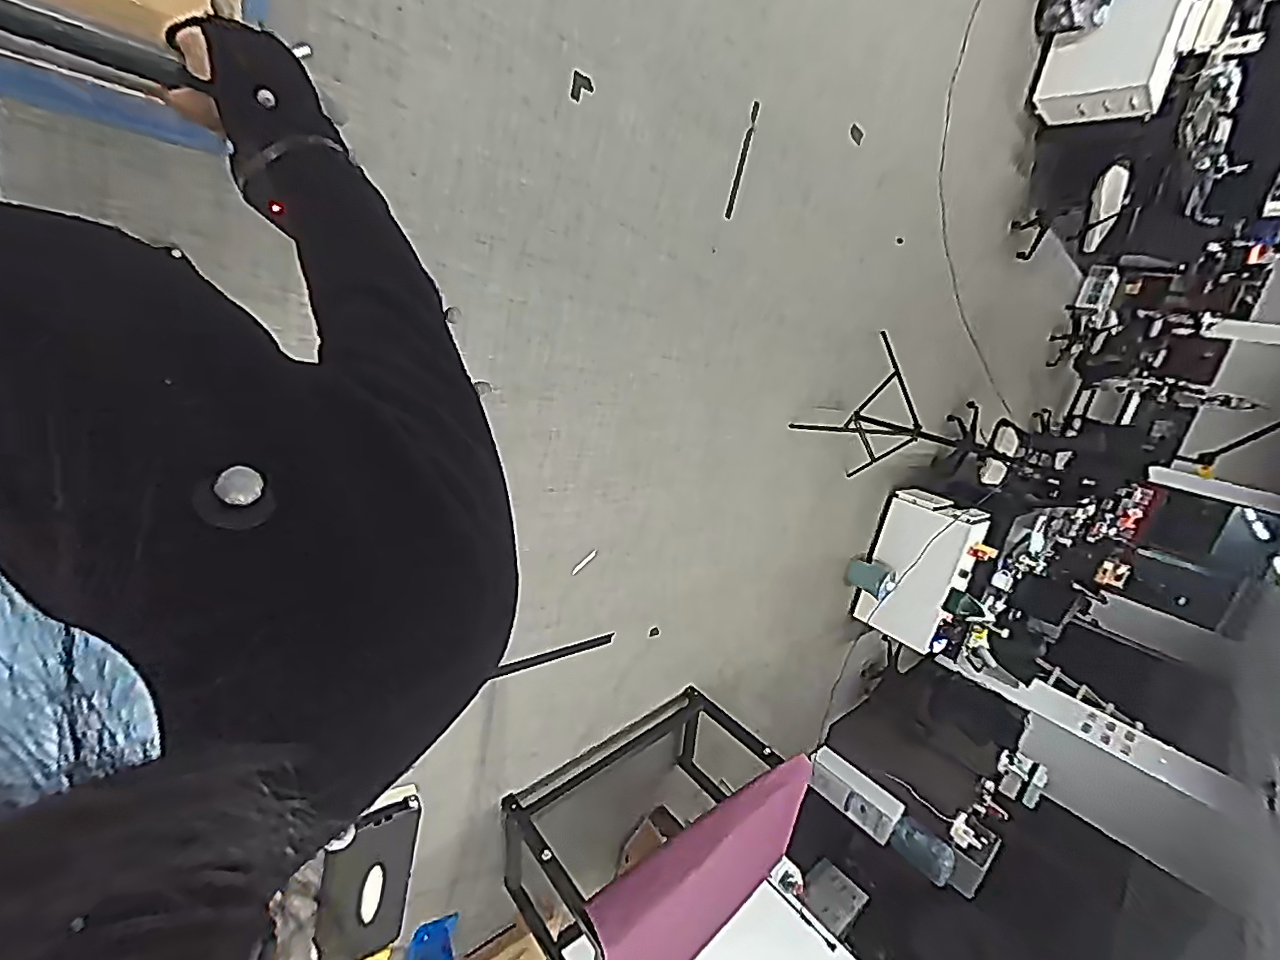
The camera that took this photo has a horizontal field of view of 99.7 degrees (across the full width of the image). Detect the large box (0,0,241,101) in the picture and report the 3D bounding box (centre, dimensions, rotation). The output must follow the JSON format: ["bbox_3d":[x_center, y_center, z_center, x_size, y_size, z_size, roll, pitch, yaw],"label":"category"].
[{"bbox_3d":[-0.768,-0.738,0.665,0.408,0.320,0.320,-5,113,-44],"label":"large box"}]
